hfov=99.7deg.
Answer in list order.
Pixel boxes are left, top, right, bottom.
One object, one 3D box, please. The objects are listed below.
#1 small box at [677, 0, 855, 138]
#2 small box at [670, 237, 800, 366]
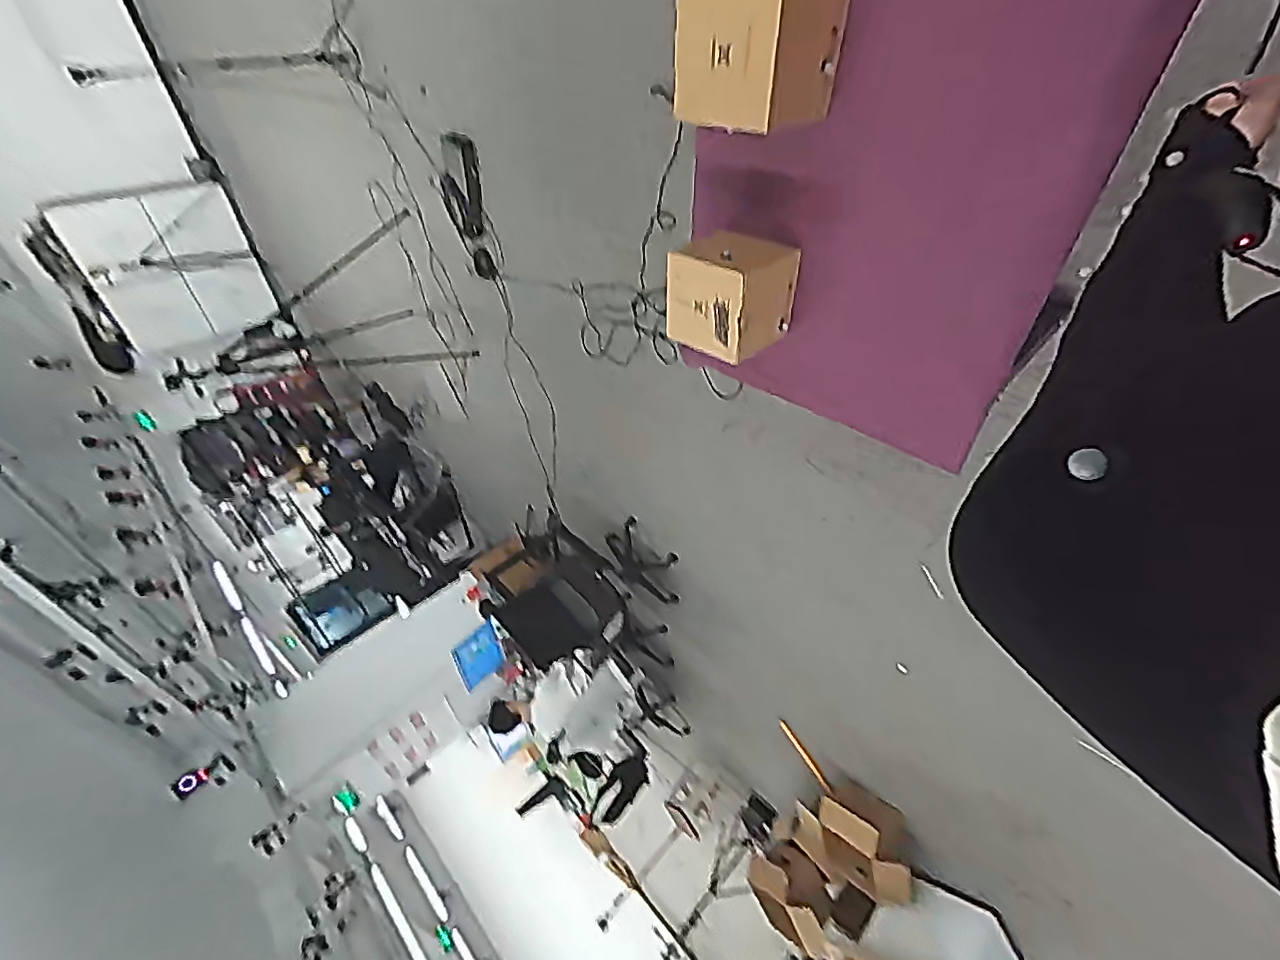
[{"bbox_3d":[0.175,-0.613,0.783,0.179,0.176,0.168,33,142,32],"label":"small box"},{"bbox_3d":[0.175,-0.343,1.020,0.179,0.176,0.168,33,141,34],"label":"small box"}]
